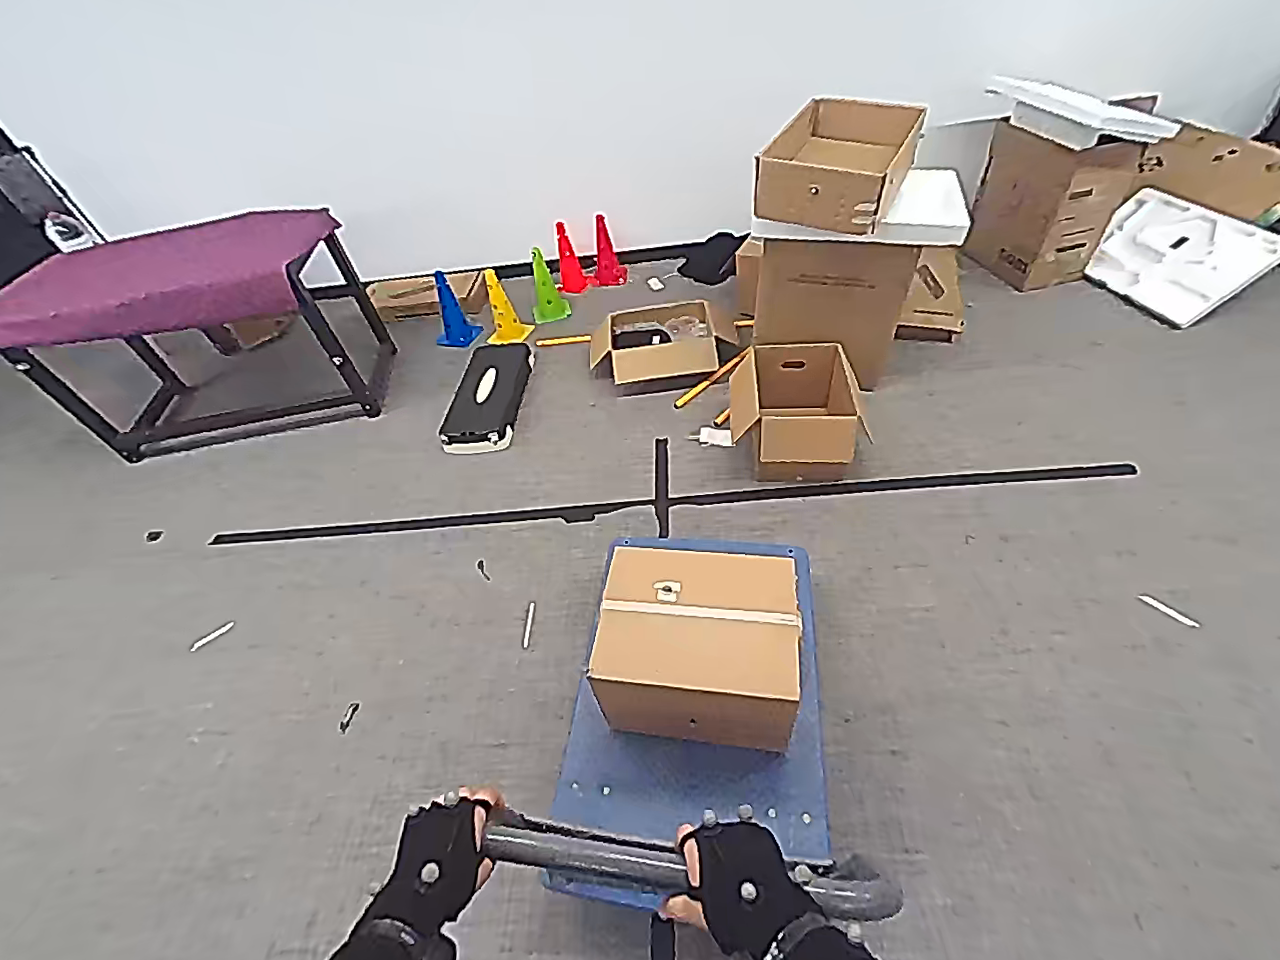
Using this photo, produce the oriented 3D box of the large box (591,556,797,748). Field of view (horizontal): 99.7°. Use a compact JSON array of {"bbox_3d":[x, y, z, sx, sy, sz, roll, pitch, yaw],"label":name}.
[{"bbox_3d":[0.136,0.393,1.241,0.408,0.320,0.320,1,47,11],"label":"large box"}]
